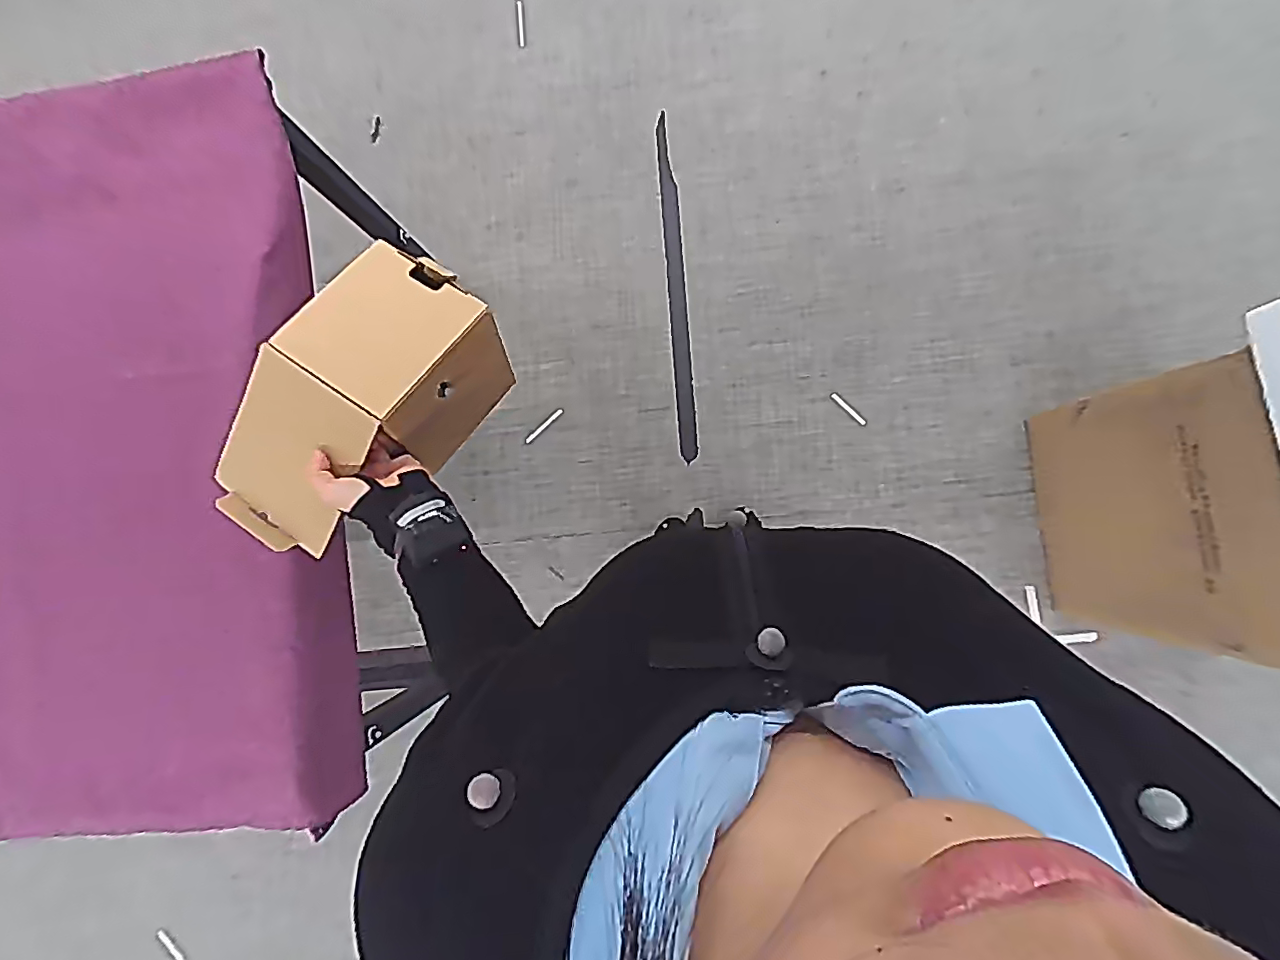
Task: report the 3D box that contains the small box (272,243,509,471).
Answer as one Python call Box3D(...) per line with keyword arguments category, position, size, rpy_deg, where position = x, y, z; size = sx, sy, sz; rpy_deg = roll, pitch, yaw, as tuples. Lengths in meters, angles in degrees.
Box3D(category="small box", position=(-0.282, -0.139, 0.662), size=(0.168, 0.176, 0.179), rpy_deg=(33, 72, 9))
